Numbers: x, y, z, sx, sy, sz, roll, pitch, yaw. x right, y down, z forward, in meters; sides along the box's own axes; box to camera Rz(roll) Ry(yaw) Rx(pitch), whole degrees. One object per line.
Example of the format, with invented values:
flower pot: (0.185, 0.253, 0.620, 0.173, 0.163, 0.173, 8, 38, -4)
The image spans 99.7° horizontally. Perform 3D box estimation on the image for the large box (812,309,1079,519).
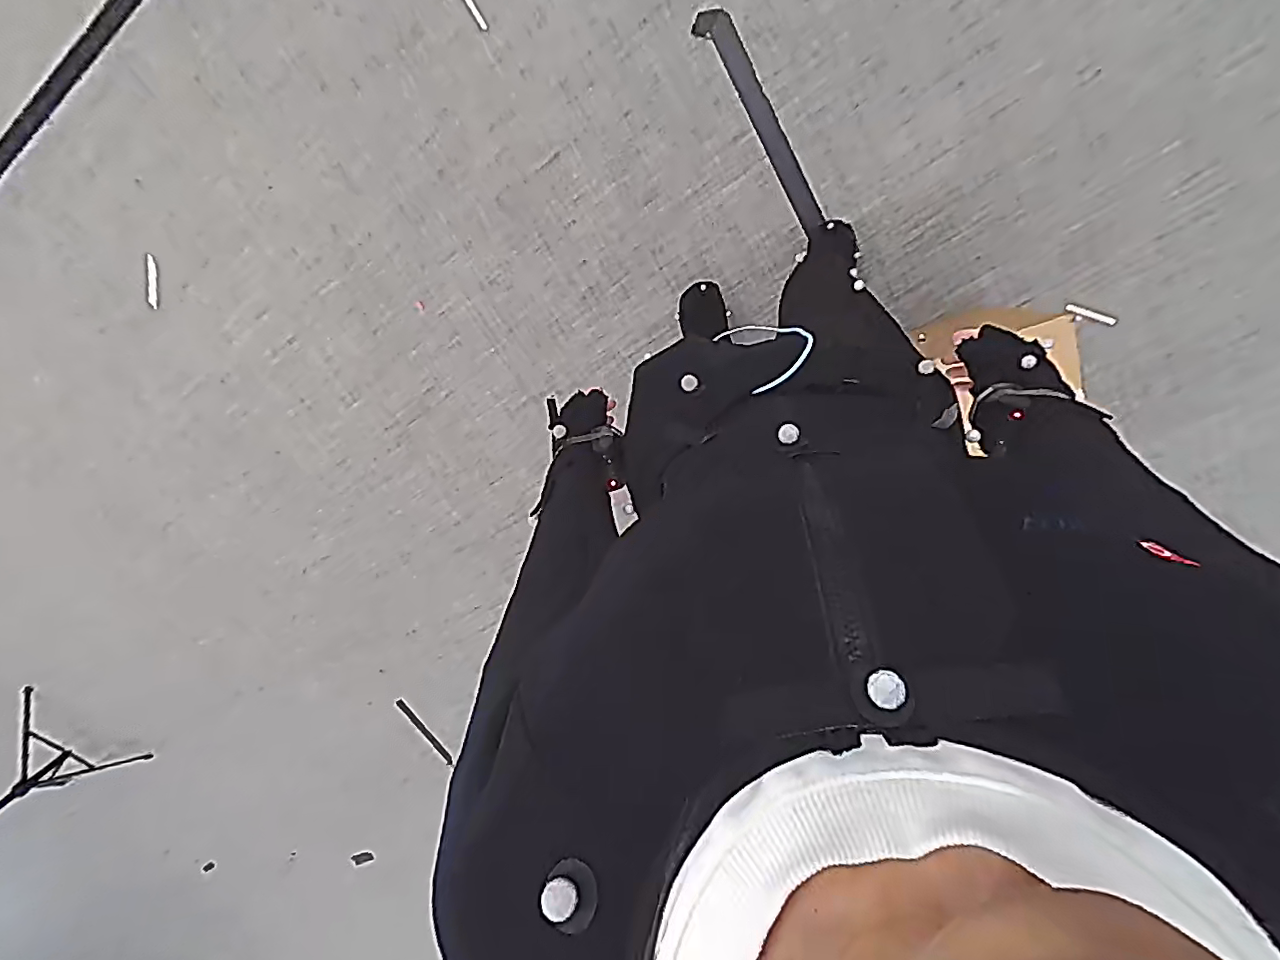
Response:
large box: (0.651, -0.160, 1.213, 0.408, 0.320, 0.320, -19, 108, 11)
